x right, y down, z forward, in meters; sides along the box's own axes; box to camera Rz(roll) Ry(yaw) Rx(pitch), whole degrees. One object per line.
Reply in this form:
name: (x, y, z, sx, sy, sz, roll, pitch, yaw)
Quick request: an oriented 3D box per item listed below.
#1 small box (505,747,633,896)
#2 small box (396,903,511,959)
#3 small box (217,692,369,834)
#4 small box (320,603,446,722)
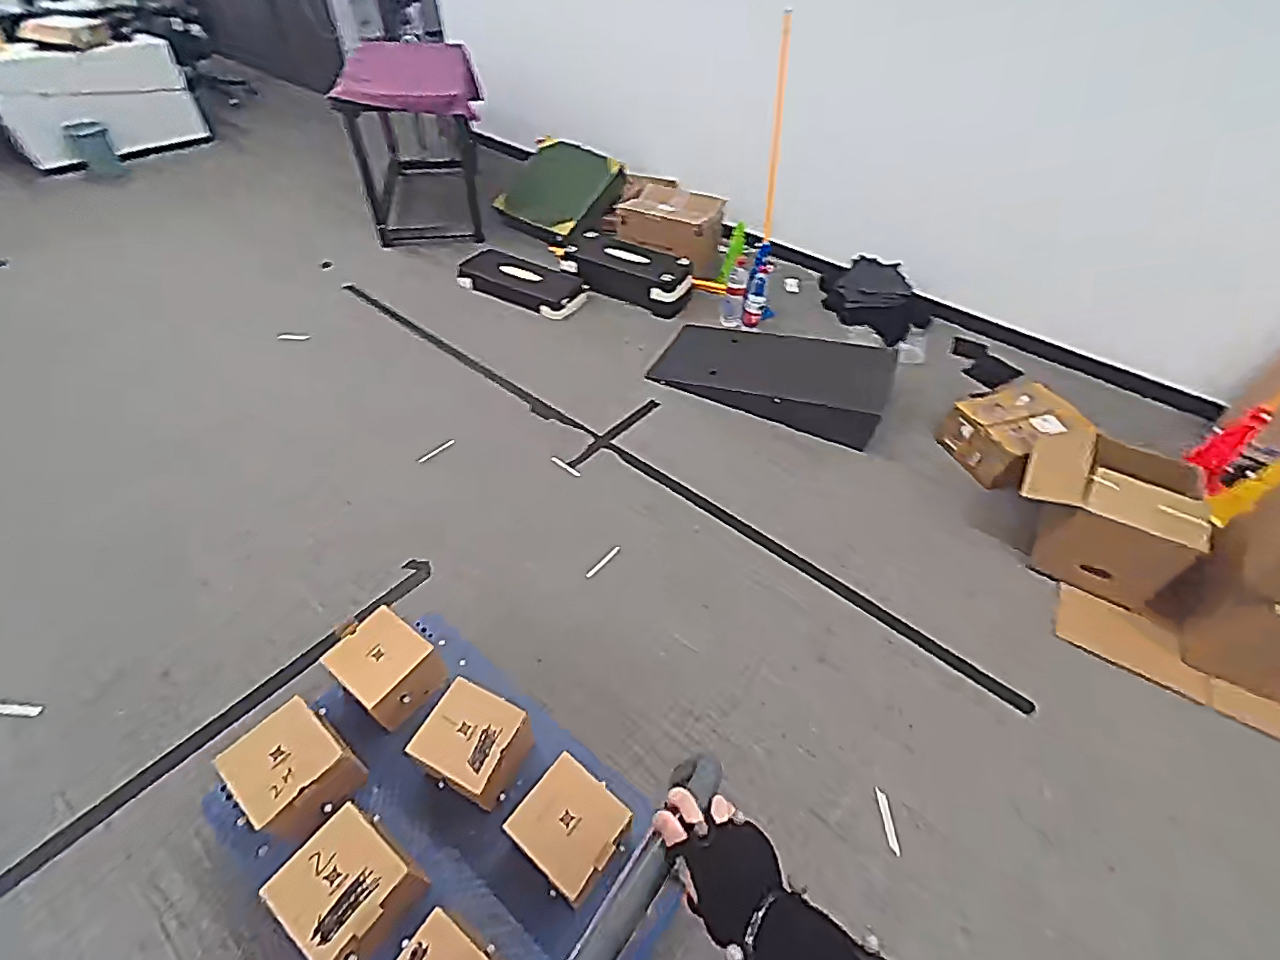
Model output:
small box: (-0.131, 0.662, 1.044, 0.179, 0.176, 0.168, 32, 53, 22)
small box: (-0.309, 0.833, 0.876, 0.179, 0.176, 0.168, 29, 52, 19)
small box: (-0.681, 0.568, 1.079, 0.179, 0.176, 0.168, 34, 54, 22)
small box: (-0.569, 0.420, 1.223, 0.179, 0.176, 0.168, 29, 53, 20)
